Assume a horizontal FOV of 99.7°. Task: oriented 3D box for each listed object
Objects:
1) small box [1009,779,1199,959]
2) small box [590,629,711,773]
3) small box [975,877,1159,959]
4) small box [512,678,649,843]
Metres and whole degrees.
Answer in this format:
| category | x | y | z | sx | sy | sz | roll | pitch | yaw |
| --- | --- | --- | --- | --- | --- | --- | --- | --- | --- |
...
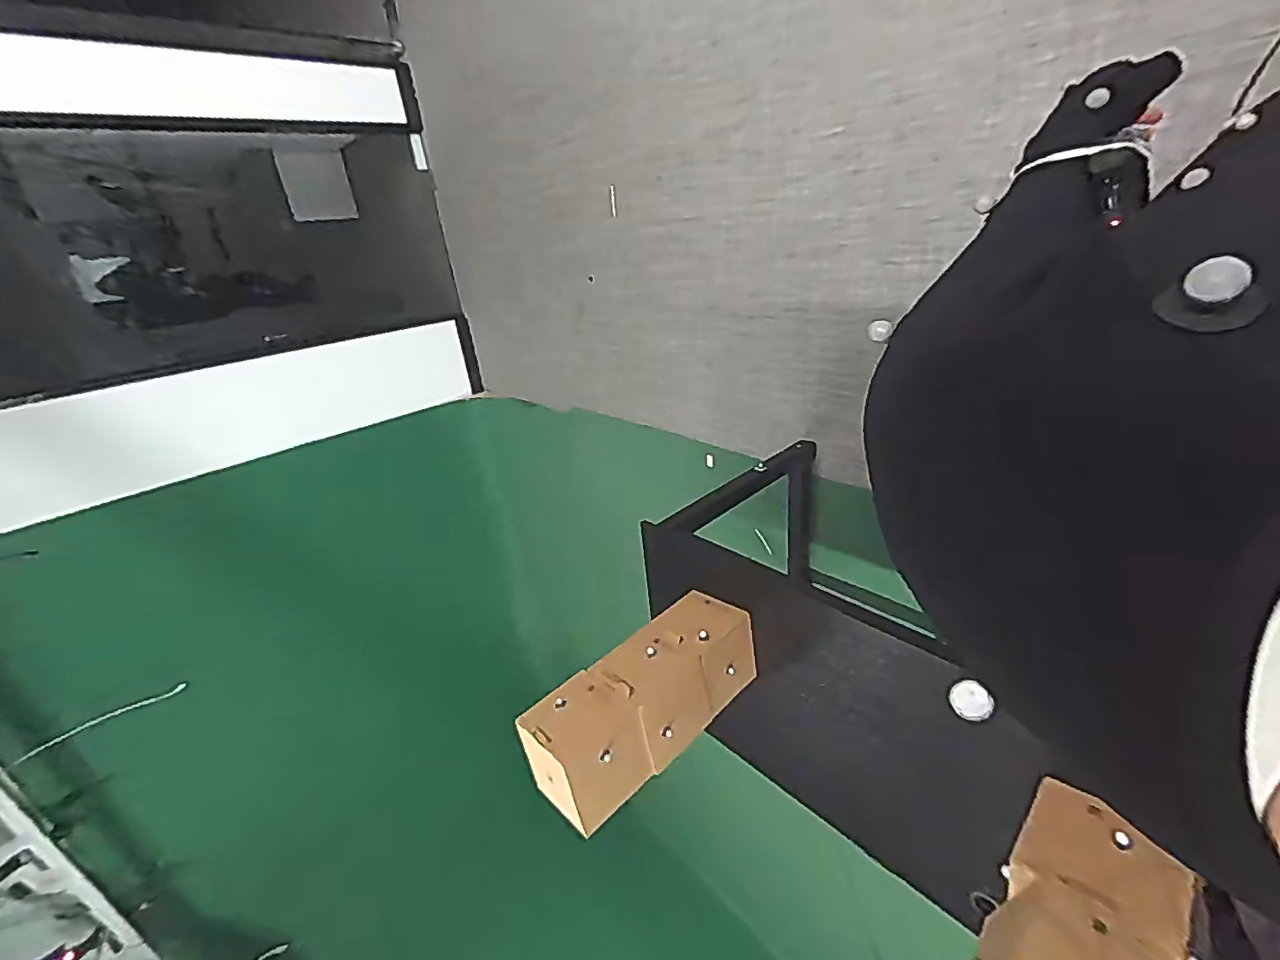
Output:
| category | x | y | z | sx | sy | sz | roll | pitch | yaw |
| --- | --- | --- | --- | --- | --- | --- | --- | --- | --- |
| small box | 0.623 | 0.560 | 0.732 | 0.168 | 0.176 | 0.179 | 11 | 118 | 48 |
| small box | 0.028 | 0.442 | 1.107 | 0.168 | 0.176 | 0.179 | 11 | 120 | 47 |
| small box | 0.505 | 0.621 | 0.633 | 0.168 | 0.176 | 0.179 | 34 | 135 | 35 |
| small box | -0.106 | 0.507 | 1.006 | 0.168 | 0.176 | 0.179 | 11 | 121 | 47 |
